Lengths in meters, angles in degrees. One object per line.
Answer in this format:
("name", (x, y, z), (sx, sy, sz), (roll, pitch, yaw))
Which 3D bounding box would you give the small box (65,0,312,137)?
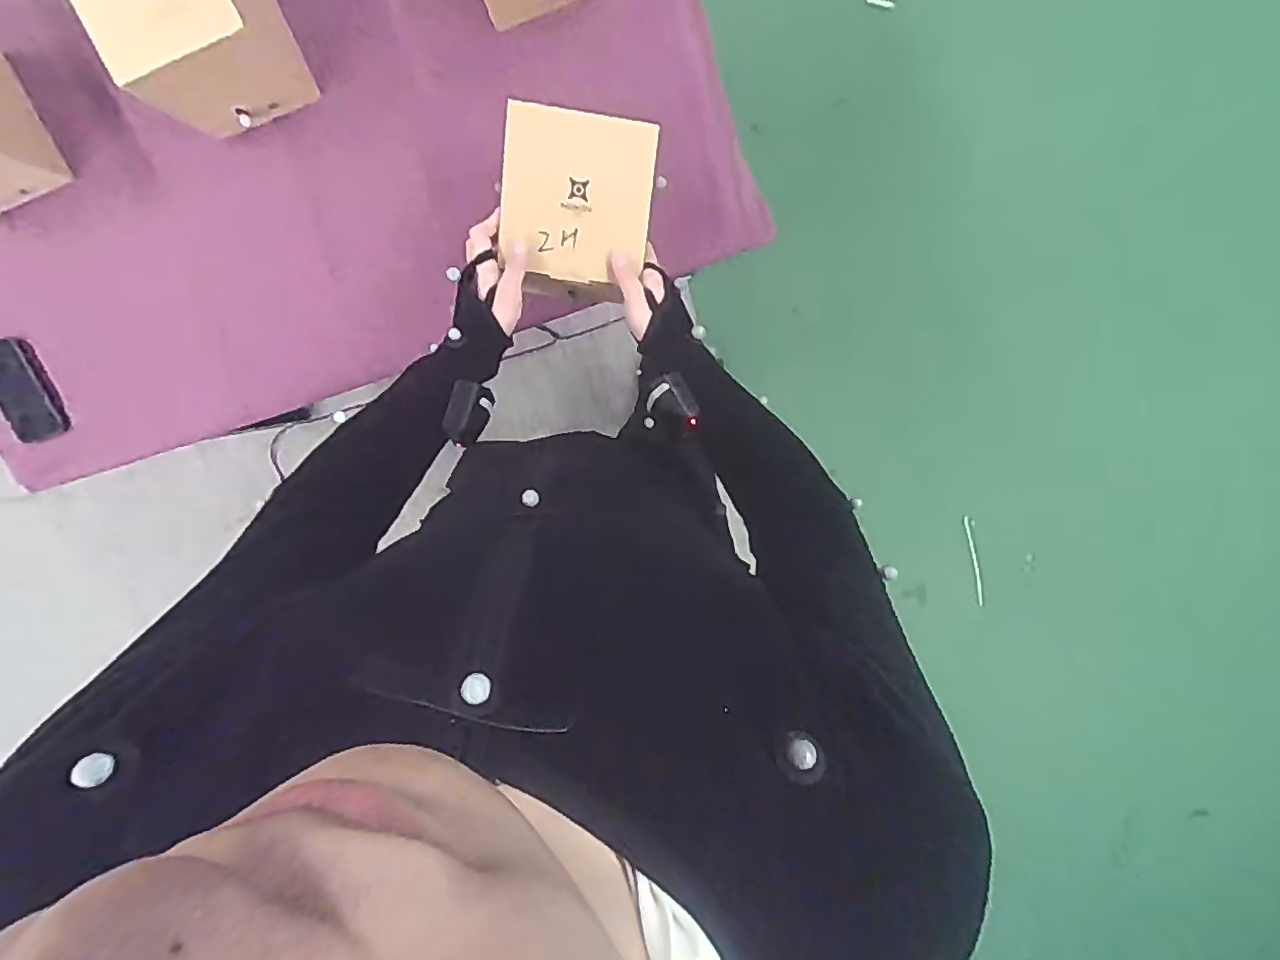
("small box", (-0.556, -0.570, 0.665), (0.168, 0.176, 0.179), (-22, 102, 2))

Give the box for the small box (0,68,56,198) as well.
("small box", (-0.909, -0.457, 0.666), (0.168, 0.176, 0.179), (-23, 101, 1))

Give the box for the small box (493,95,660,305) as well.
("small box", (-0.077, -0.326, 0.668), (0.168, 0.176, 0.179), (7, 102, -5))

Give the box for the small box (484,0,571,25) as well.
("small box", (-0.153, -0.720, 0.656), (0.168, 0.176, 0.179), (-20, 101, 2))
